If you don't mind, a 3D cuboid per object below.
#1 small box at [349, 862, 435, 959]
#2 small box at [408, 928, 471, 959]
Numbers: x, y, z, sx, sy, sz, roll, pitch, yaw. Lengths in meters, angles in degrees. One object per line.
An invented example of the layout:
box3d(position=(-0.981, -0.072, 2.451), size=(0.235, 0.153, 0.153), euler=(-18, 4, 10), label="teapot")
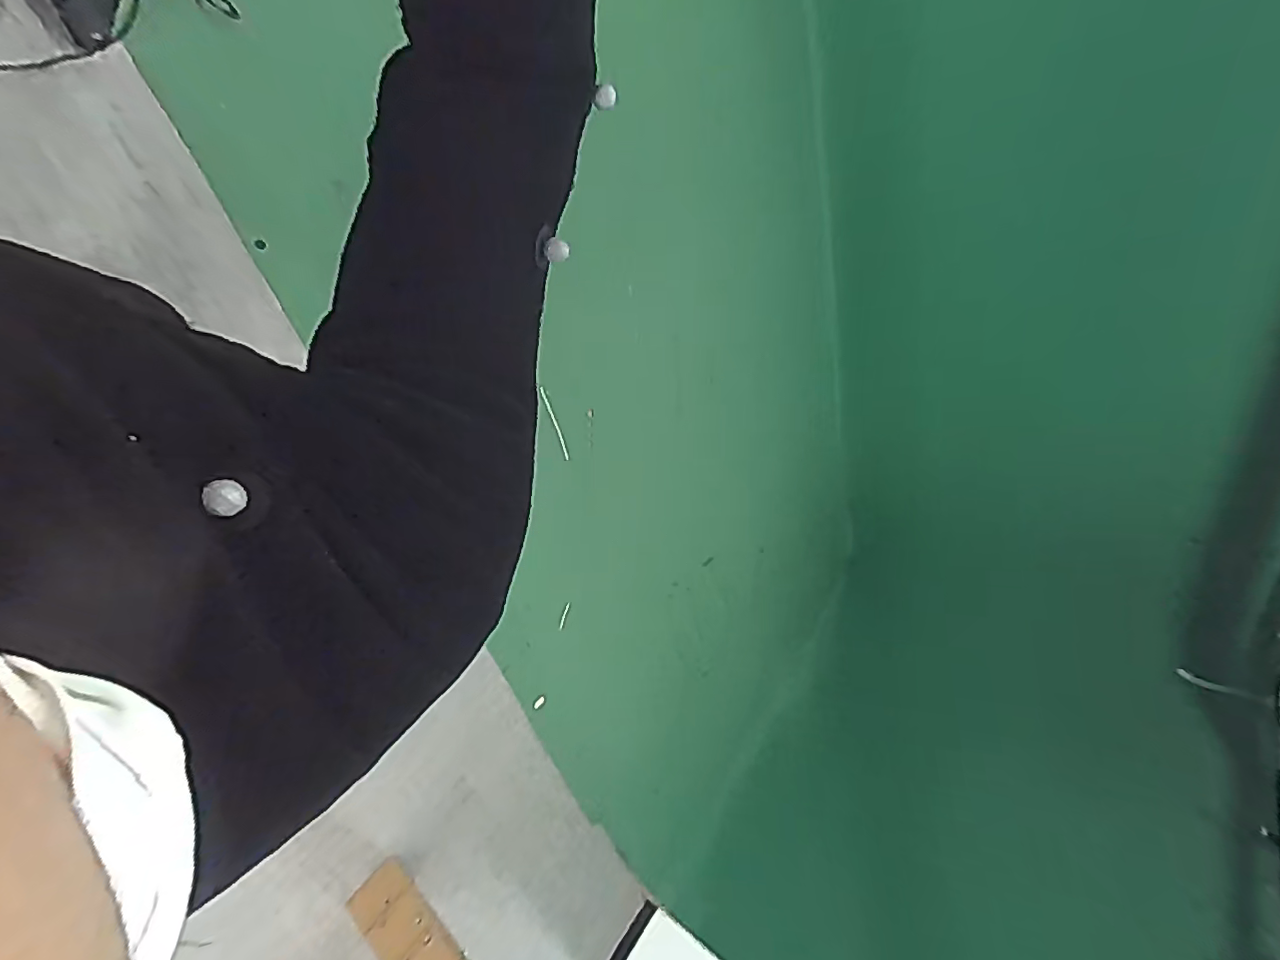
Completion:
box3d(position=(-0.830, 1.435, 1.809), size=(0.179, 0.176, 0.168), euler=(-41, 127, -34), label="small box")
box3d(position=(-0.590, 1.476, 1.588), size=(0.168, 0.176, 0.179), euler=(-43, 129, -34), label="small box")
